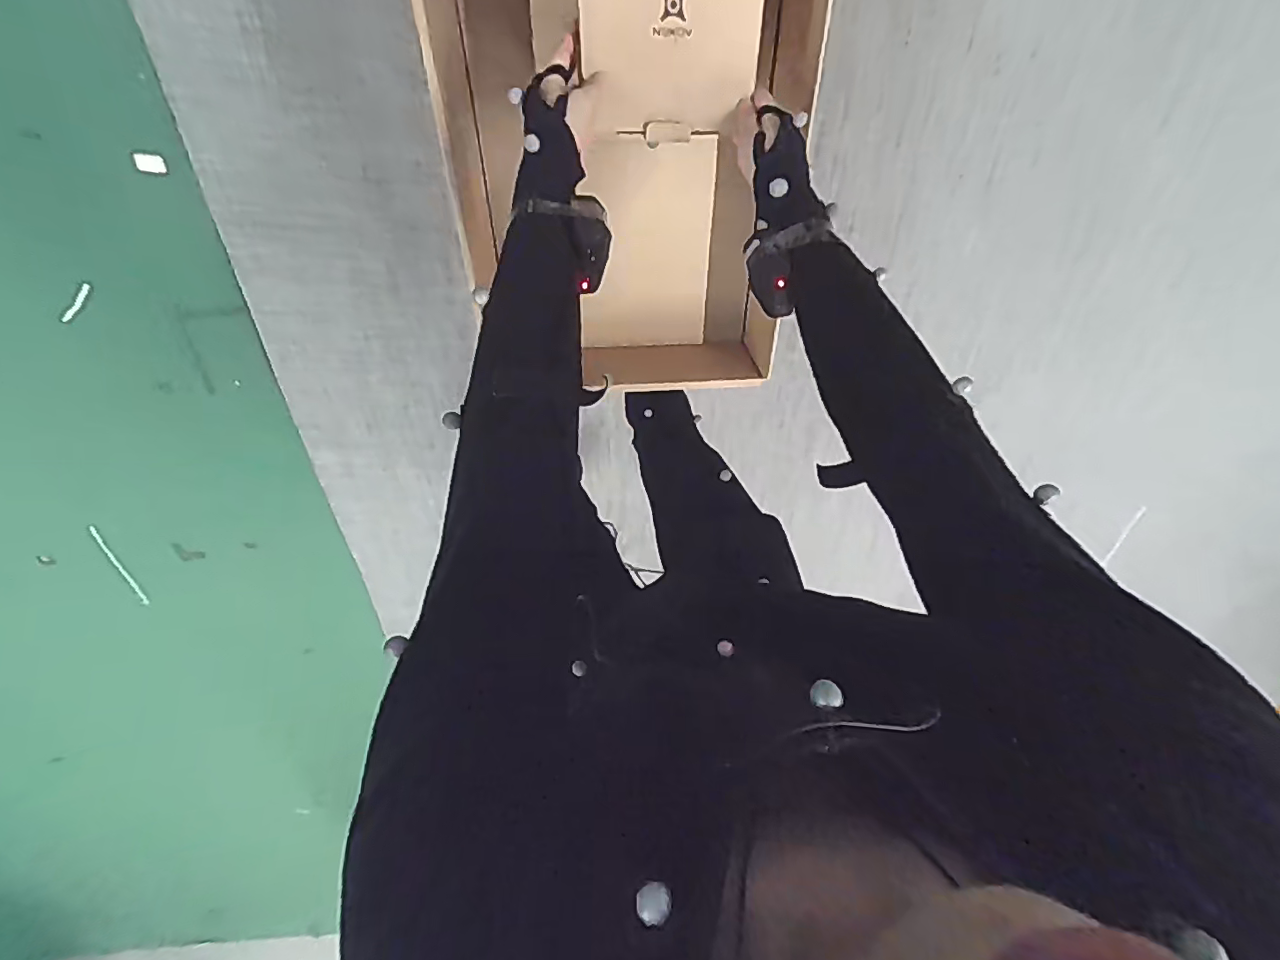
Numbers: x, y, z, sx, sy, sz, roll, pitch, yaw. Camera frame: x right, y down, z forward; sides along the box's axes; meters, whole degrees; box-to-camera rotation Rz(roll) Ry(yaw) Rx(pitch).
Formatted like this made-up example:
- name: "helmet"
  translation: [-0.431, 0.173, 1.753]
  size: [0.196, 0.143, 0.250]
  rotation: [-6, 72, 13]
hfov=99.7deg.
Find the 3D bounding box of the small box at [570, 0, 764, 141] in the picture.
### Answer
- name: "small box"
  translation: [0.017, -0.451, 0.540]
  size: [0.168, 0.176, 0.179]
  rotation: [-4, 127, -7]
